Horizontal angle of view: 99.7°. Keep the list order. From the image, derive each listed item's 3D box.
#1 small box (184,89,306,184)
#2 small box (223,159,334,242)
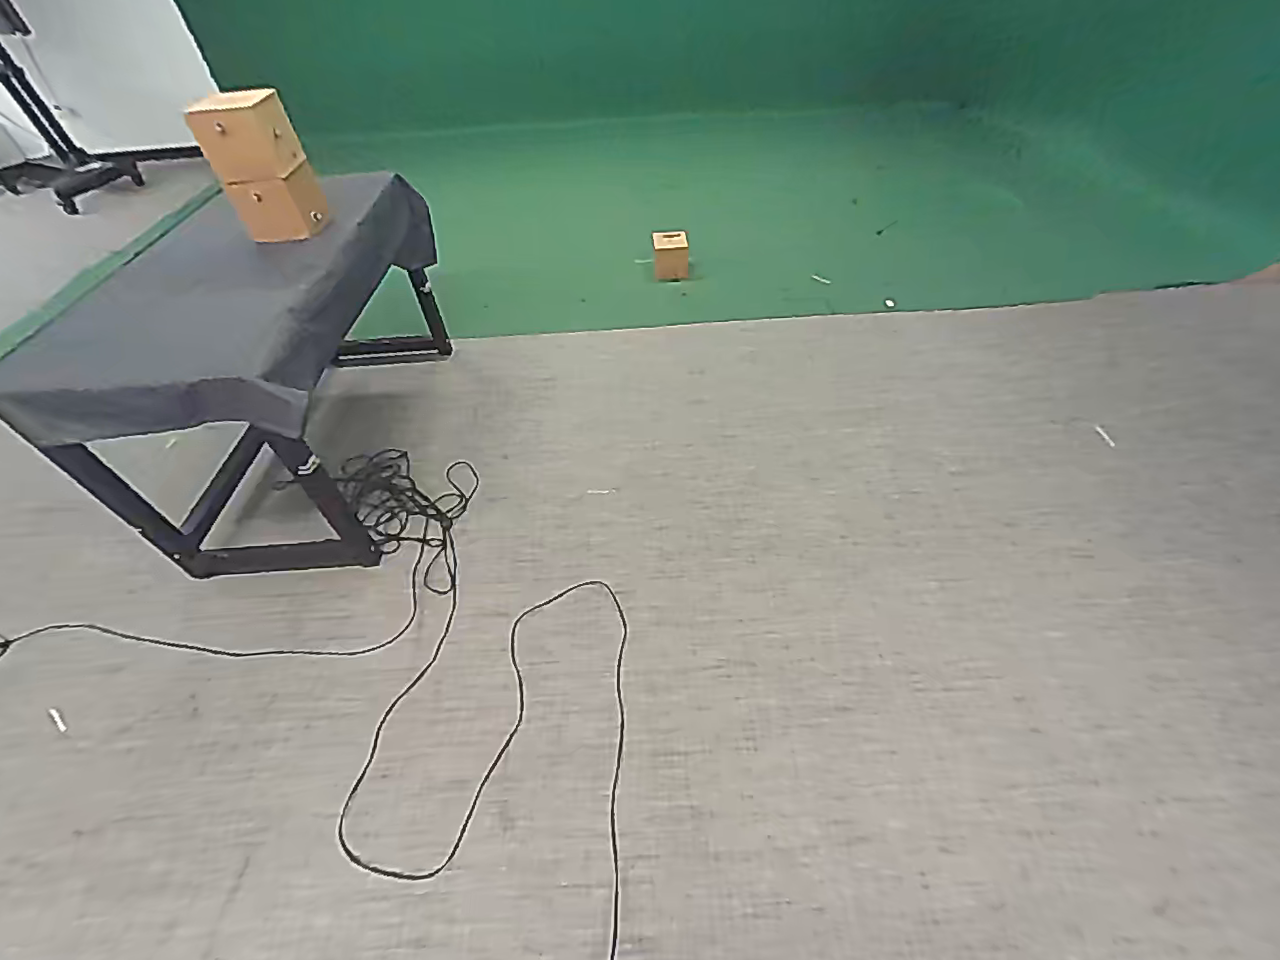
[{"bbox_3d":[-1.033,-0.910,1.437,0.179,0.176,0.168,-5,49,2],"label":"small box"},{"bbox_3d":[-1.032,-0.804,1.561,0.179,0.176,0.168,-3,49,1],"label":"small box"}]
